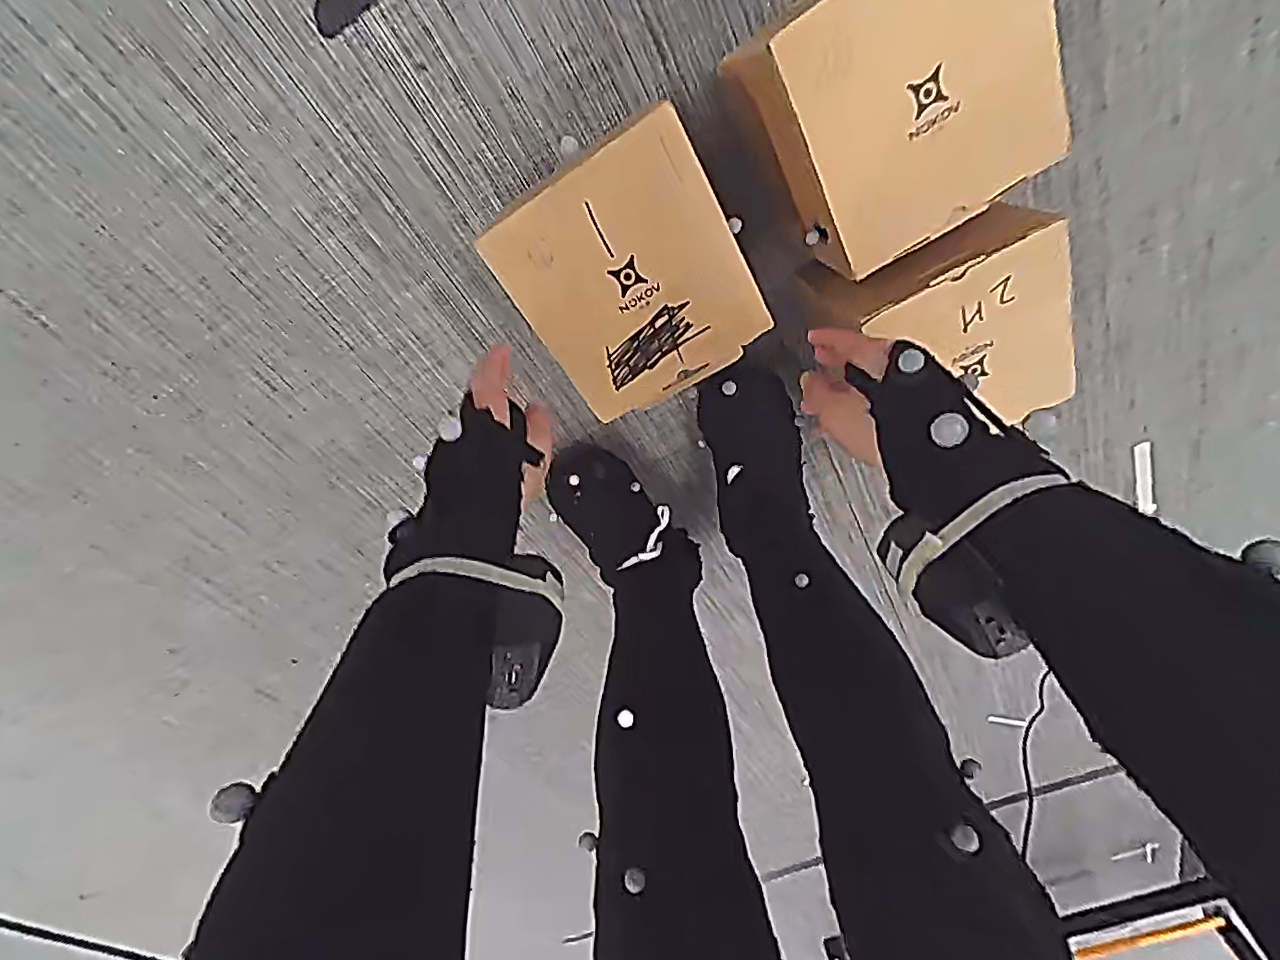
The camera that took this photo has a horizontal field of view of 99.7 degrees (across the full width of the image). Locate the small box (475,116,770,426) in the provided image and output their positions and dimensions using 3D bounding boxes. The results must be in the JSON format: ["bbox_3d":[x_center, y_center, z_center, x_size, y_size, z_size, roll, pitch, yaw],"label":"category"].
[{"bbox_3d":[-0.011,-0.185,0.473,0.168,0.176,0.179,-28,121,13],"label":"small box"}]
